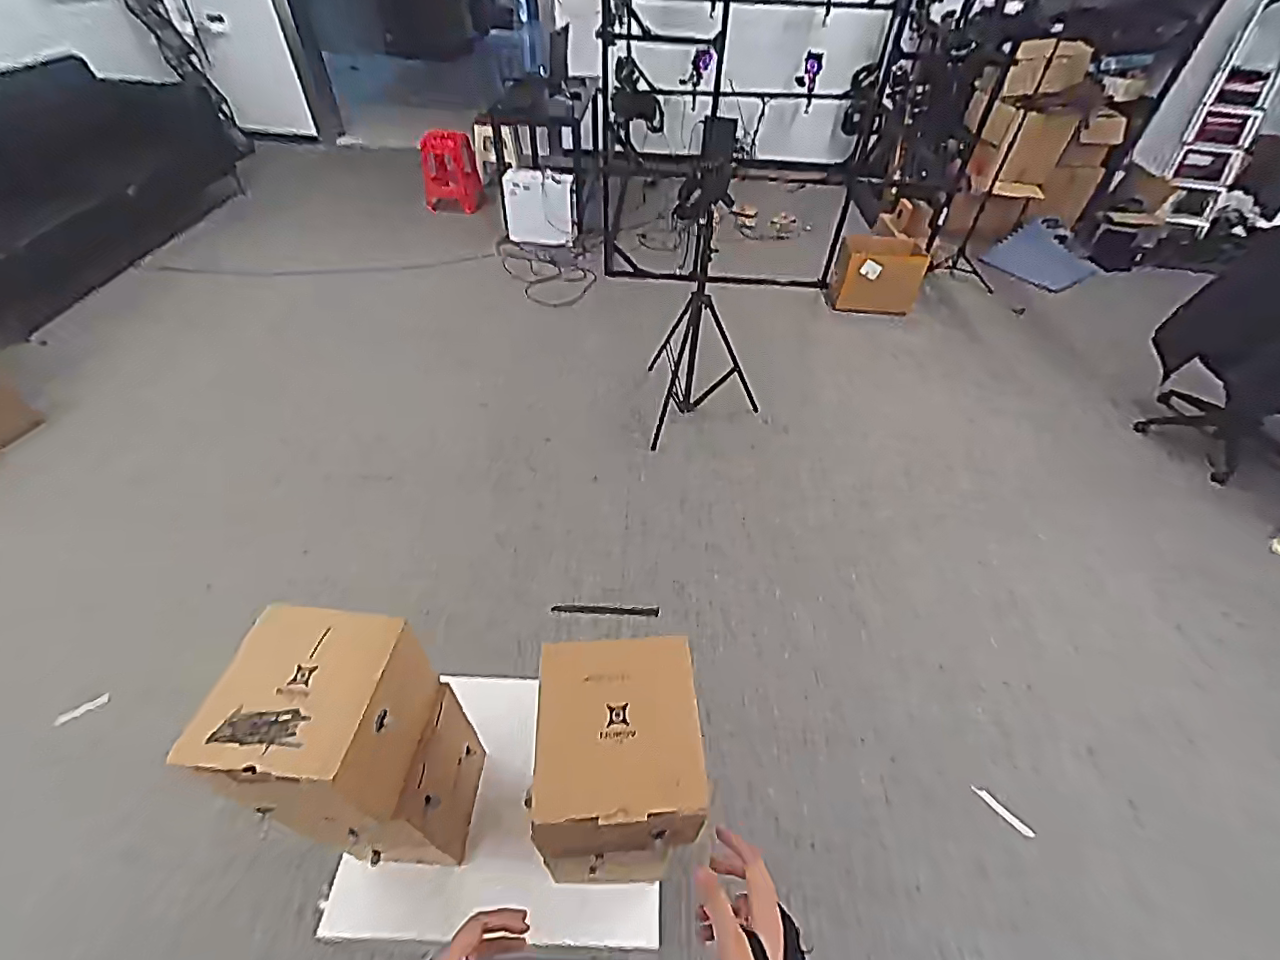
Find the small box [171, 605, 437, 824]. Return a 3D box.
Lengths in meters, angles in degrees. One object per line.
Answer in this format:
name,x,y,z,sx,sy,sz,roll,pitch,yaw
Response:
small box,-0.351,0.267,0.612,0.168,0.176,0.179,5,45,2

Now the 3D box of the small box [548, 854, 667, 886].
small box,-0.047,0.513,0.845,0.168,0.176,0.179,0,46,-1

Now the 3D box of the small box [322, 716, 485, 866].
small box,-0.355,0.491,0.854,0.168,0.176,0.179,3,46,0

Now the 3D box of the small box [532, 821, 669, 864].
small box,-0.042,0.400,0.726,0.168,0.176,0.179,1,47,-1

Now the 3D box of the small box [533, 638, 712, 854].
small box,-0.022,0.297,0.599,0.168,0.176,0.179,-2,47,-5
